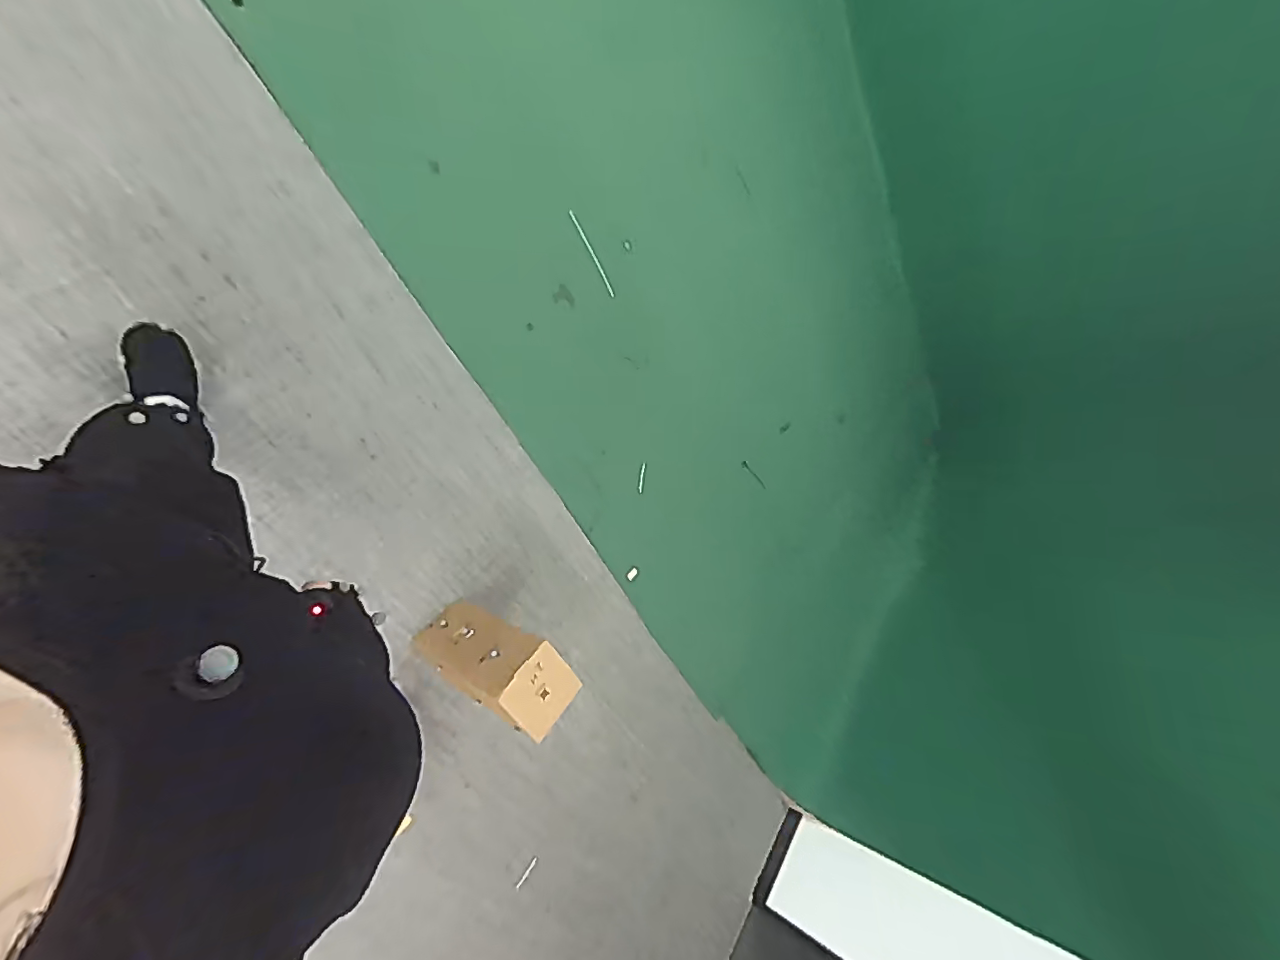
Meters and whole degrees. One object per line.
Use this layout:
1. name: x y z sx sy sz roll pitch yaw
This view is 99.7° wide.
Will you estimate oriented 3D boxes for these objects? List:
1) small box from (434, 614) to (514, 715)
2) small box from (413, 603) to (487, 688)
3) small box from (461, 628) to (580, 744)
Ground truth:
1. small box: -0.392 0.471 1.398 0.168 0.176 0.179 -48 121 -32
2. small box: -0.501 0.465 1.519 0.168 0.176 0.179 -44 119 -33
3. small box: -0.282 0.476 1.276 0.168 0.176 0.179 -48 122 -32
